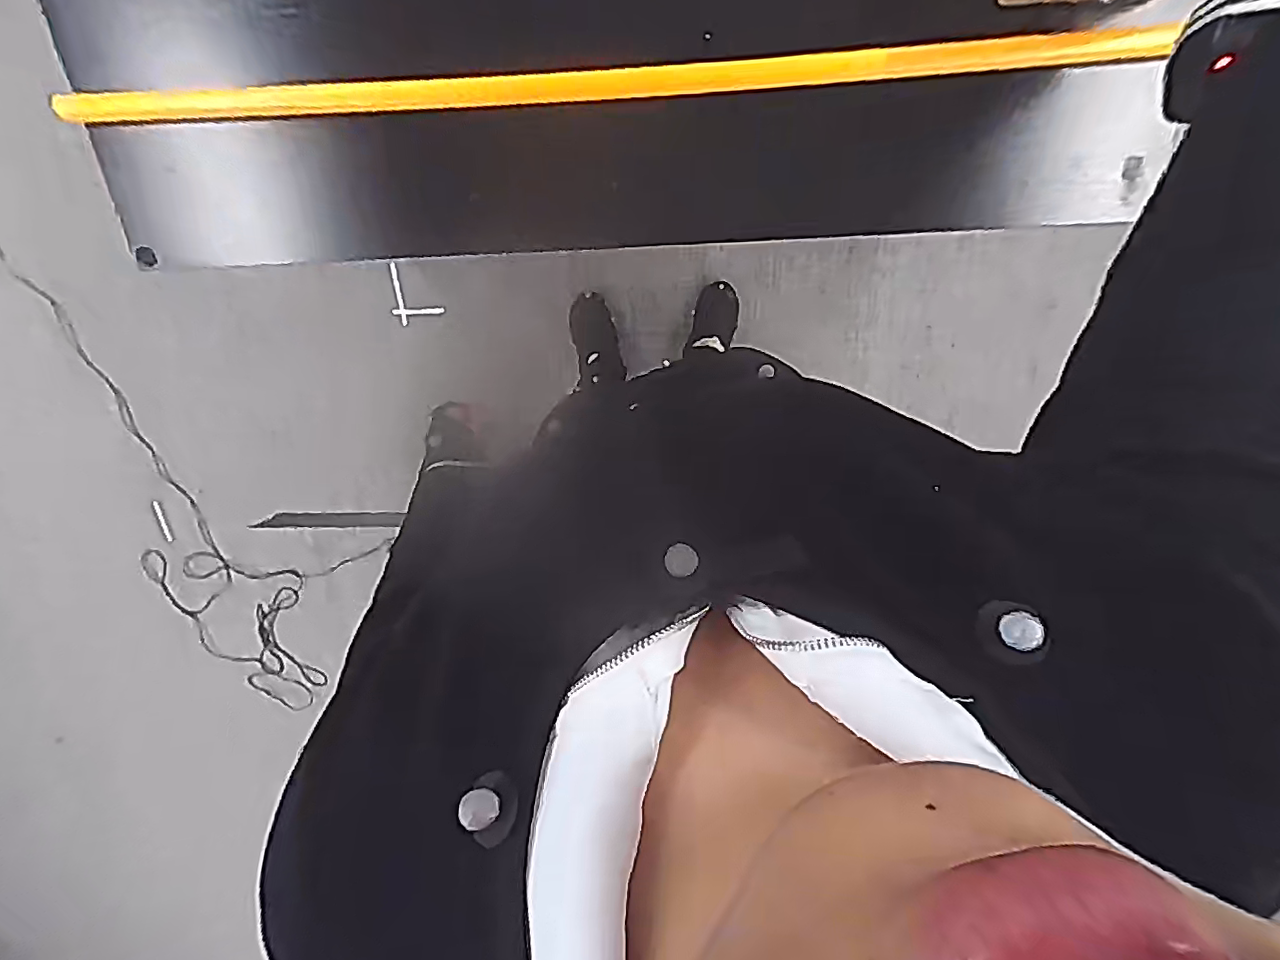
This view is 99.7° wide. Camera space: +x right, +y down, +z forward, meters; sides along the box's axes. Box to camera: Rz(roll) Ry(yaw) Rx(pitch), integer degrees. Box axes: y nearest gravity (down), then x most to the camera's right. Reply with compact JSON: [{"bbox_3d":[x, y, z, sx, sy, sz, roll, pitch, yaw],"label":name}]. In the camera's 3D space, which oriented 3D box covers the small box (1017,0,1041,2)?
[{"bbox_3d":[0.441,-0.533,0.436,0.168,0.176,0.179,0,113,3],"label":"small box"}]
